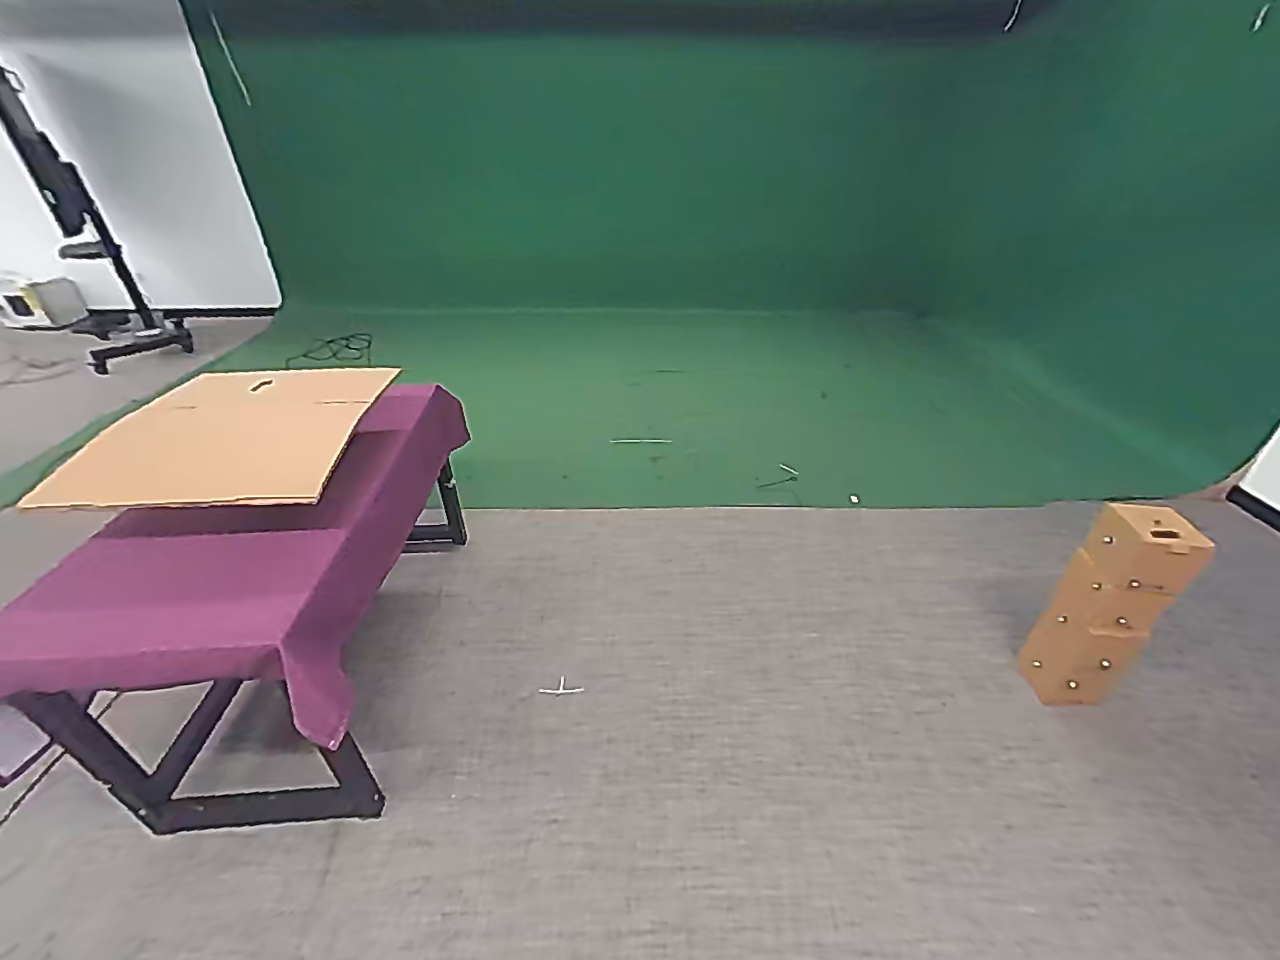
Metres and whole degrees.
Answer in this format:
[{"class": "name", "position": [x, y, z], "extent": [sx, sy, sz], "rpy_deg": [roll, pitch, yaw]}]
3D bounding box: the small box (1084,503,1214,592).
[{"class": "small box", "position": [1.376, 0.185, 1.476], "extent": [0.168, 0.176, 0.179], "rpy_deg": [5, 33, 7]}]

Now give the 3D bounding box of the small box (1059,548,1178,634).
[{"class": "small box", "position": [1.373, 0.320, 1.569], "extent": [0.168, 0.176, 0.179], "rpy_deg": [3, 34, 5]}]

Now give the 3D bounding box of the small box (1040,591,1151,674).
[{"class": "small box", "position": [1.374, 0.463, 1.648], "extent": [0.168, 0.176, 0.179], "rpy_deg": [1, 33, 3]}]
